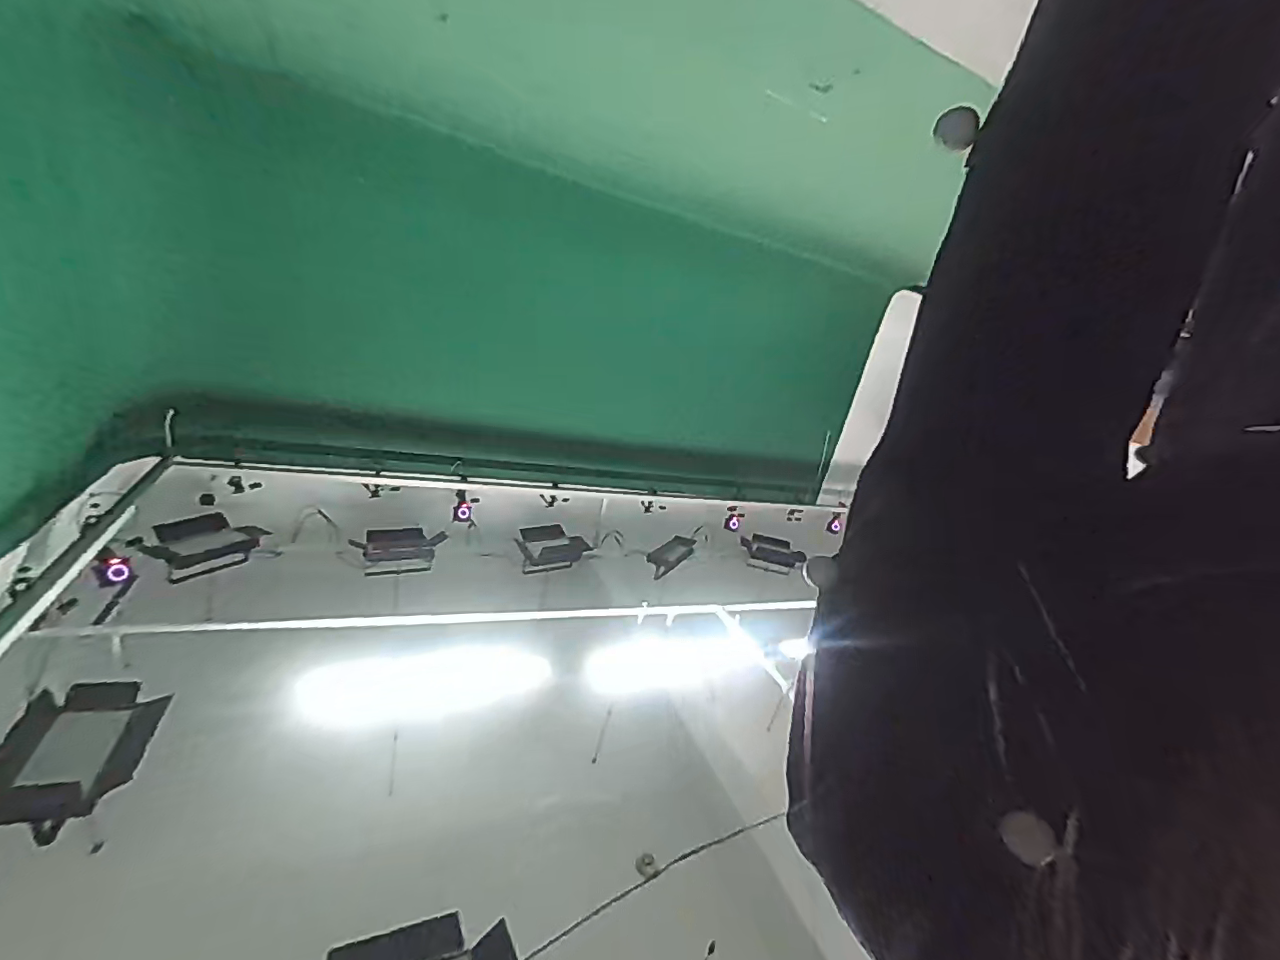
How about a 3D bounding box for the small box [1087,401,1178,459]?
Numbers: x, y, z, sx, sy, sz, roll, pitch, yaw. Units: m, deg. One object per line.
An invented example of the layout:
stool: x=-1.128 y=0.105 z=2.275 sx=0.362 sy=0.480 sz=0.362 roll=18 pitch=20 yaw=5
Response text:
small box: x=1.823 y=-0.189 z=2.000 sx=0.179 sy=0.176 sz=0.168 roll=3 pitch=-159 yaw=-28
